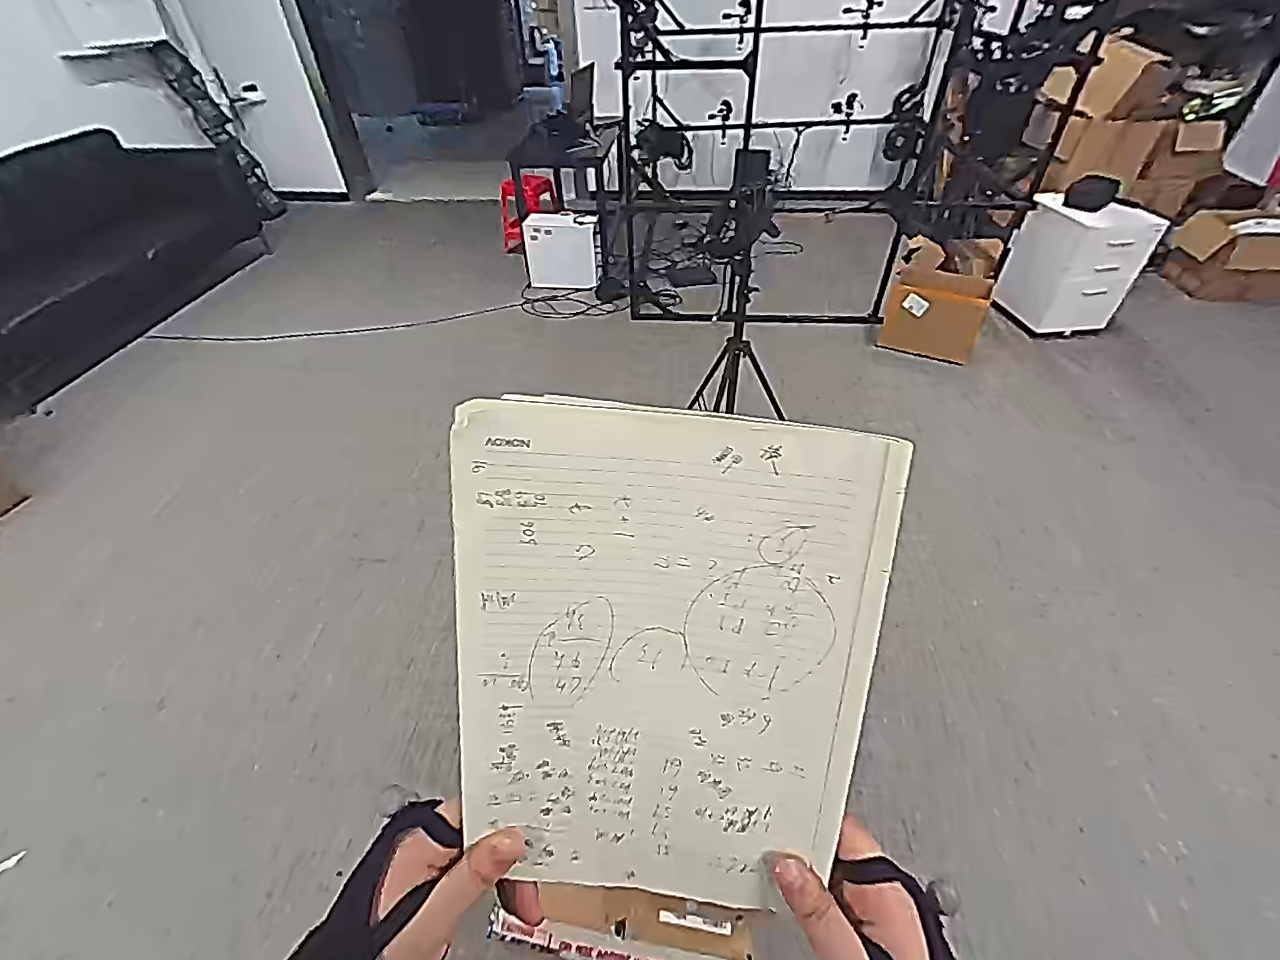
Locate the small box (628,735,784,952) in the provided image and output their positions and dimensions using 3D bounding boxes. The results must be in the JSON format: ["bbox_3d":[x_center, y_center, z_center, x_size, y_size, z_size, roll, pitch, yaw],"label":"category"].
[{"bbox_3d":[0.079,0.455,0.679,0.168,0.176,0.179,9,46,7],"label":"small box"}]

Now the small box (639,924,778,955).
[{"bbox_3d":[0.096,0.573,0.793,0.179,0.176,0.168,6,44,5],"label":"small box"}]
